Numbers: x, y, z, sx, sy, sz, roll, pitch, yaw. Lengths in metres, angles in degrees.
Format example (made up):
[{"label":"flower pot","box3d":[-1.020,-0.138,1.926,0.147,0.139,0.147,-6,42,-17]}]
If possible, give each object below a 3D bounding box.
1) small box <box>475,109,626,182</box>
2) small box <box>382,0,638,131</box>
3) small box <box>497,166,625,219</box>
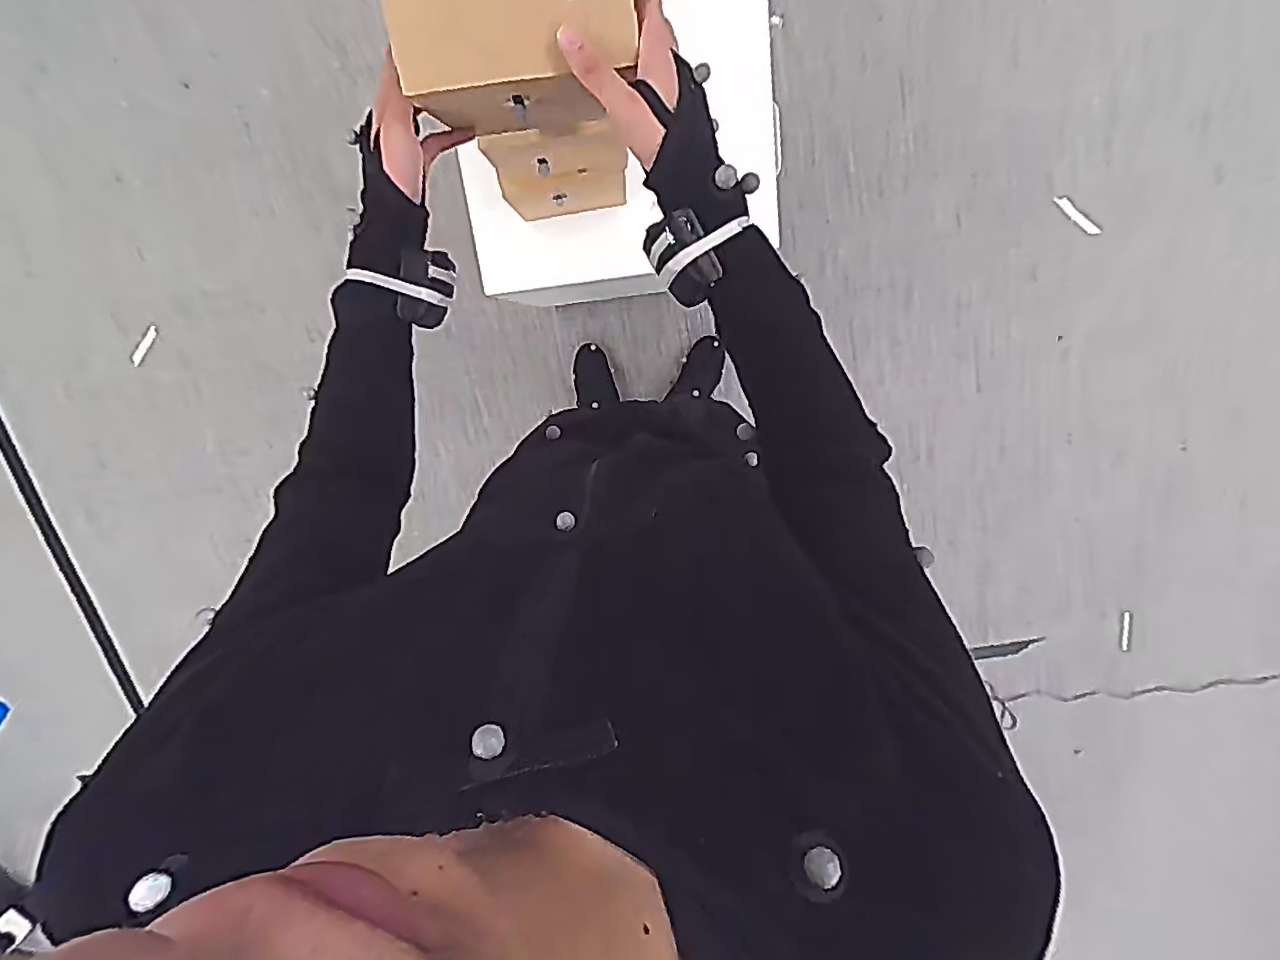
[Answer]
[{"label":"small box","box3d":[-0.109,-0.477,0.650,0.168,0.176,0.179,-8,105,1]},{"label":"small box","box3d":[-0.097,-0.396,0.432,0.179,0.176,0.168,-7,114,0]},{"label":"small box","box3d":[-0.120,-0.506,0.810,0.179,0.176,0.168,-9,105,1]}]
